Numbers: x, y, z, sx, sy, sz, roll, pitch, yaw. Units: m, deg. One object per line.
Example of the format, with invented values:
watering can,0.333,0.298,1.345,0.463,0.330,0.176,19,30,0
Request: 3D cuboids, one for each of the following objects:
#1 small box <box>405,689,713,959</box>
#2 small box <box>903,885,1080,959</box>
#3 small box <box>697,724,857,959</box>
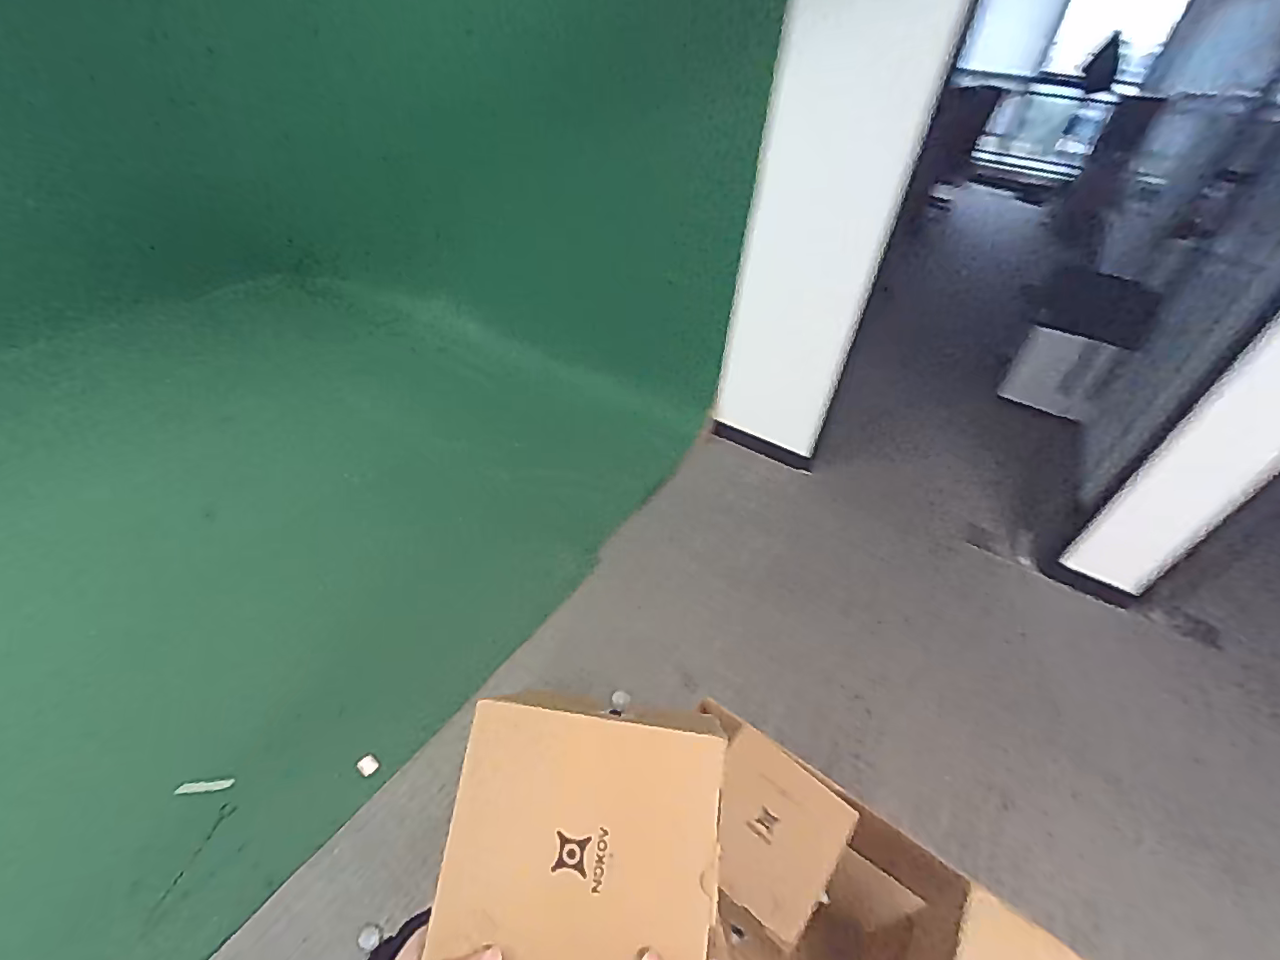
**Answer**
small box,-0.042,0.260,0.418,0.179,0.176,0.168,6,71,6
small box,0.382,0.591,0.573,0.168,0.176,0.179,29,48,24
small box,0.143,0.465,0.694,0.168,0.176,0.179,34,49,27
